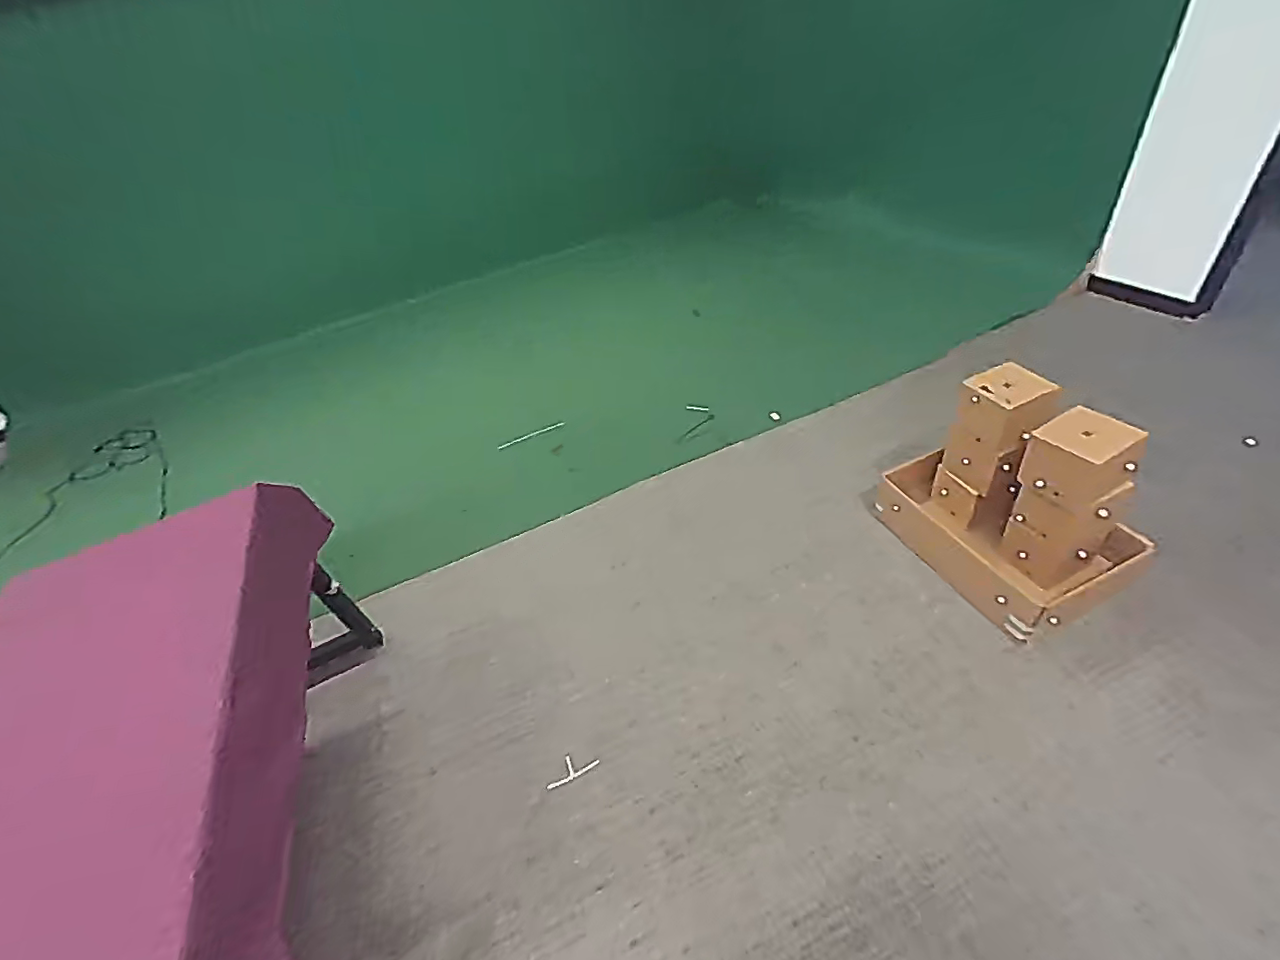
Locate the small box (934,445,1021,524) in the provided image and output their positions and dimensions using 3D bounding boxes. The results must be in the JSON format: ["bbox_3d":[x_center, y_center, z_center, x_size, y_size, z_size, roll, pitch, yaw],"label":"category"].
[{"bbox_3d":[1.102,0.018,1.785,0.179,0.176,0.168,-20,43,-7],"label":"small box"}]

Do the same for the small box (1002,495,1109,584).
[{"bbox_3d":[1.203,0.173,1.583,0.179,0.176,0.168,-24,42,-9],"label":"small box"}]

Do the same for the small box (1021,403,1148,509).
[{"bbox_3d":[1.112,-0.061,1.372,0.179,0.176,0.168,-27,41,-11],"label":"small box"}]

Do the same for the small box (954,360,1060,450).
[{"bbox_3d":[1.045,-0.214,1.558,0.179,0.176,0.168,-21,41,-8],"label":"small box"}]
